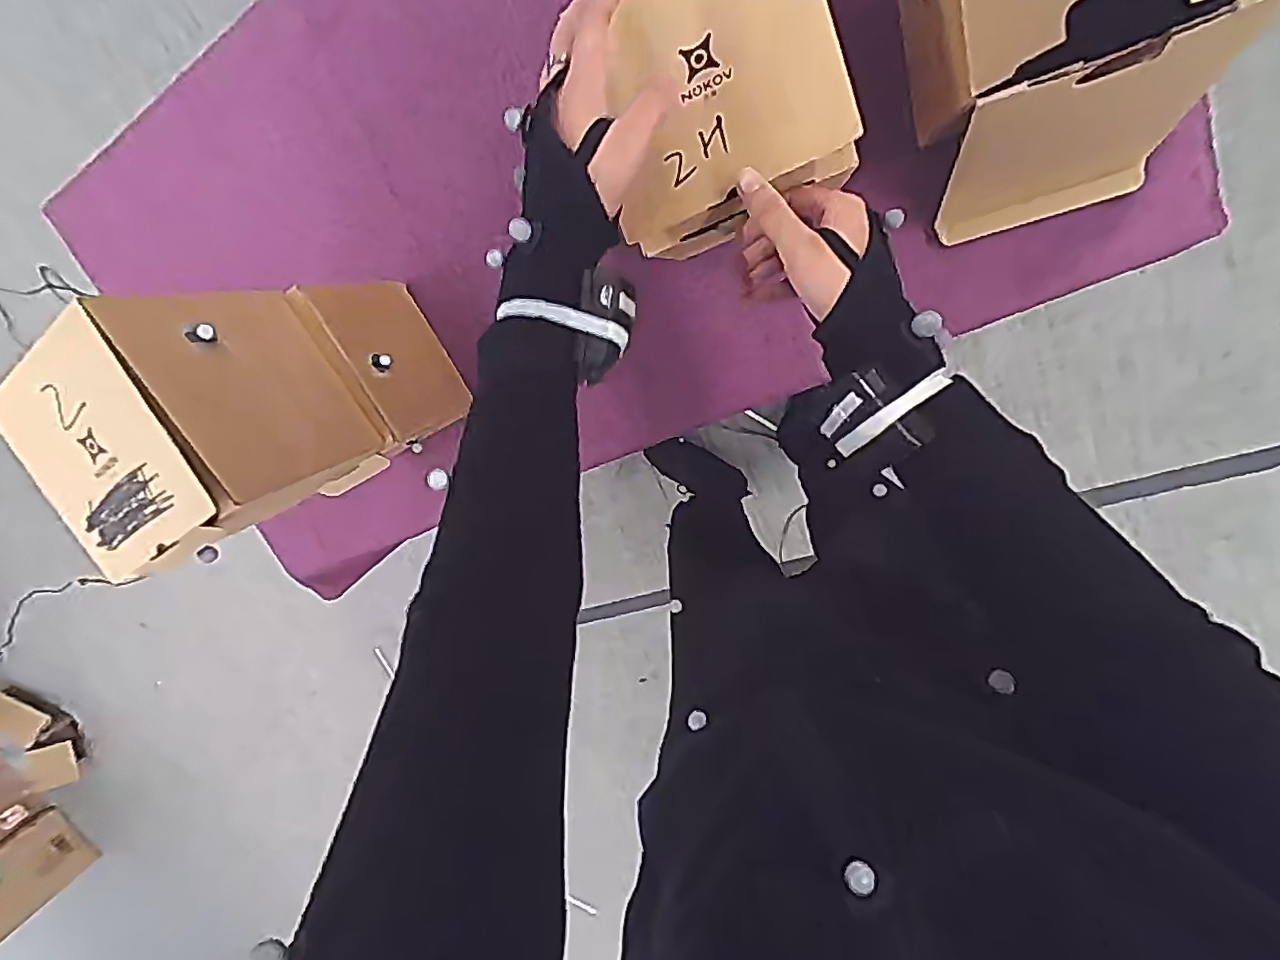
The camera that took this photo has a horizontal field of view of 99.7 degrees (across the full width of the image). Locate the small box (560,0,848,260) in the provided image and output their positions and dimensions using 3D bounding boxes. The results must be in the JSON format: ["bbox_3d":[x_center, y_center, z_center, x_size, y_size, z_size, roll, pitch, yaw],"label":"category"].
[{"bbox_3d":[0.062,-0.299,0.453,0.168,0.176,0.179,-16,106,20],"label":"small box"}]

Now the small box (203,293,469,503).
[{"bbox_3d":[-0.337,-0.103,0.635,0.168,0.176,0.179,-24,103,21],"label":"small box"}]
